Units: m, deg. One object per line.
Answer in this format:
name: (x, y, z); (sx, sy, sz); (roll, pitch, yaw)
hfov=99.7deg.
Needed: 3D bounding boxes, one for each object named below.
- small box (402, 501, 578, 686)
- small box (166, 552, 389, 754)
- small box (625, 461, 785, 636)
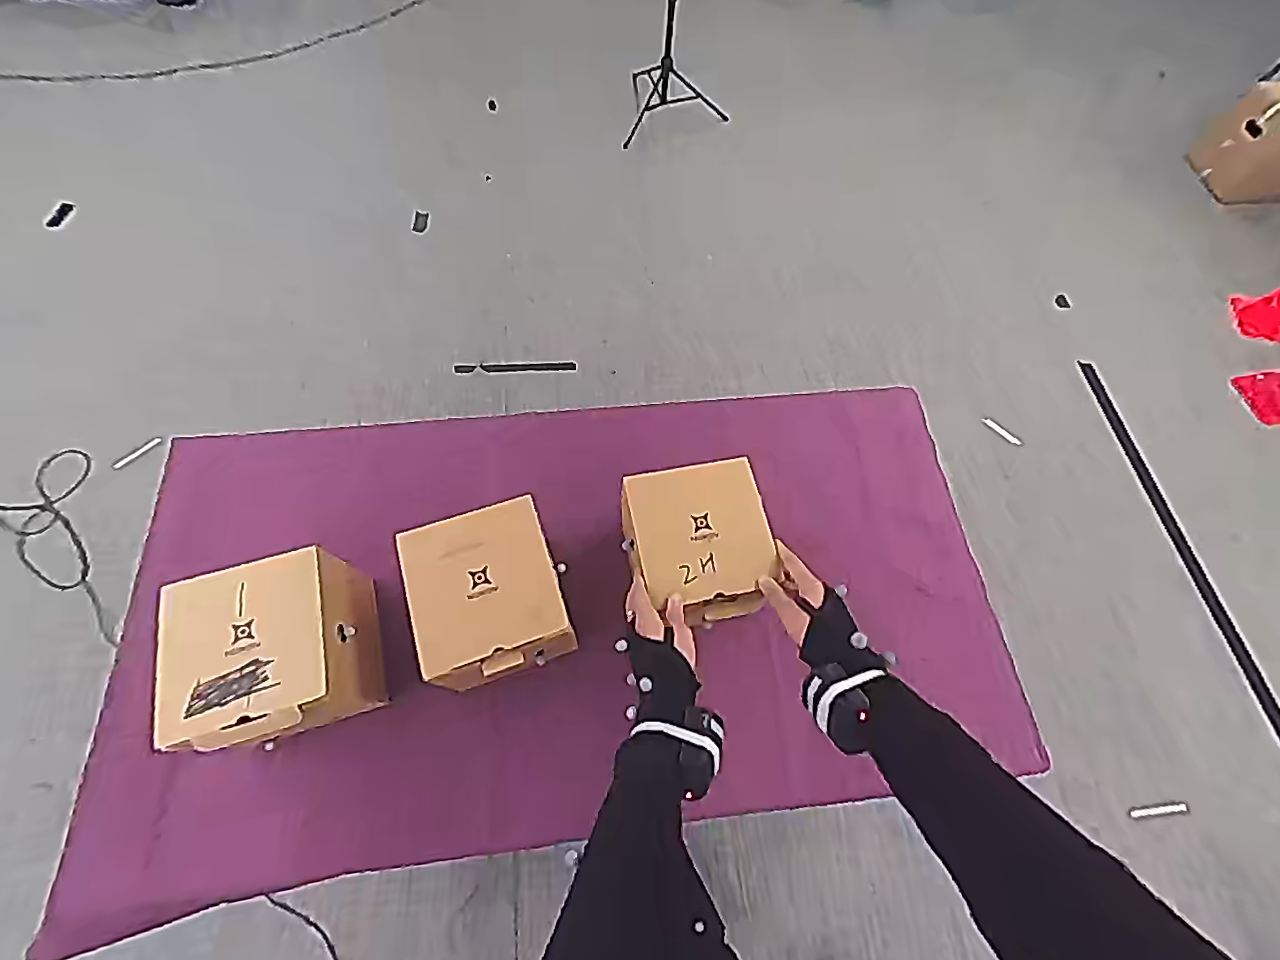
small box: (-0.184, 0.155, 0.698); (0.168, 0.176, 0.179); (-17, 67, -11)
small box: (-0.425, 0.212, 0.658); (0.168, 0.176, 0.179); (-16, 66, -10)
small box: (0.073, 0.098, 0.734); (0.168, 0.176, 0.179); (-10, 66, -7)
